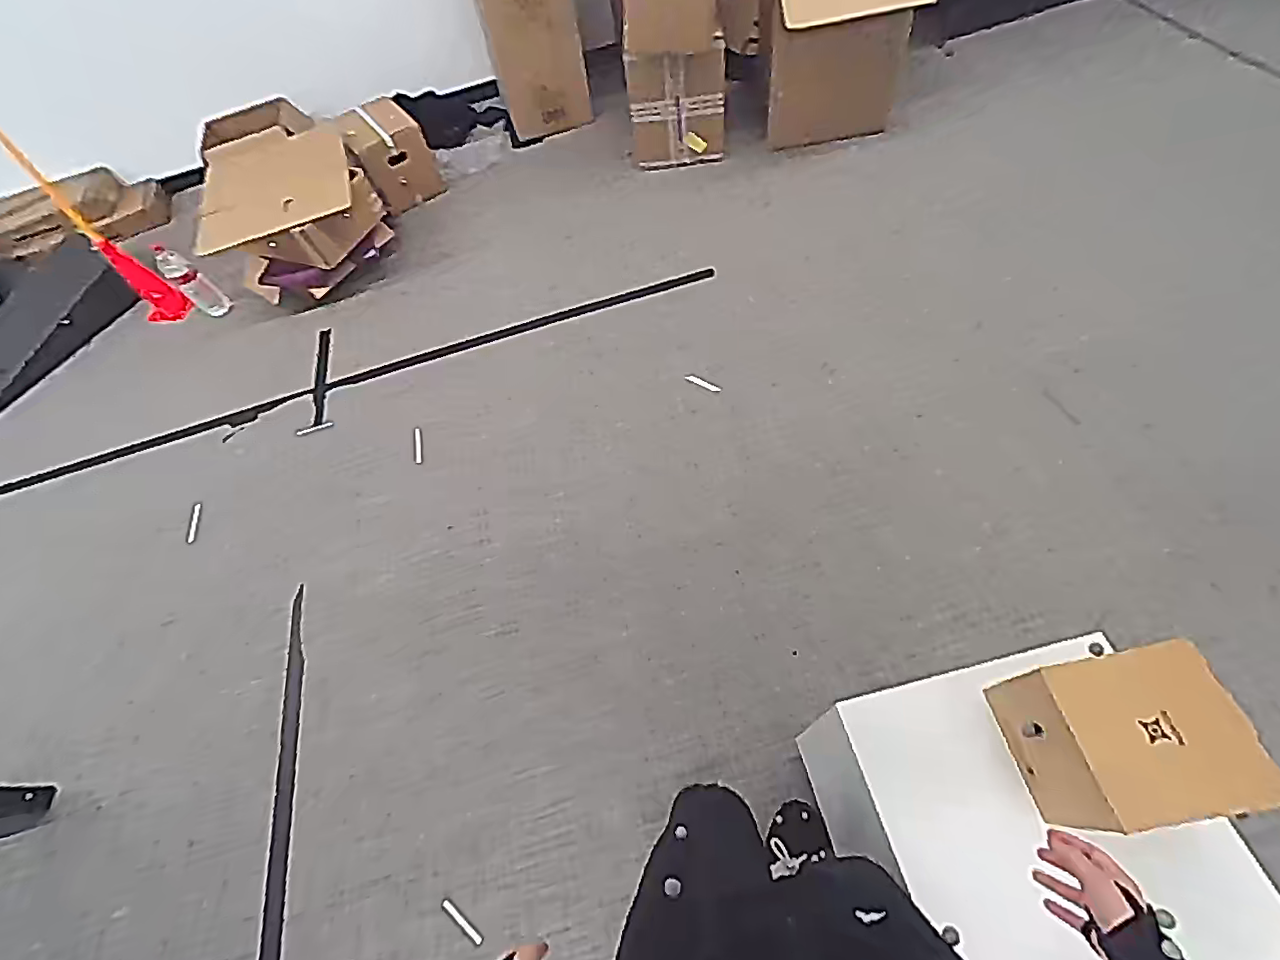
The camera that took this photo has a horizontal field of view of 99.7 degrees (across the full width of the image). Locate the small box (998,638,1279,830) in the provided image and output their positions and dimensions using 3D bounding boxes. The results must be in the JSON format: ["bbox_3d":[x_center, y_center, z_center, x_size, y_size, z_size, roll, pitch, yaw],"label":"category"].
[{"bbox_3d":[0.564,0.303,0.639,0.179,0.176,0.168,-12,59,2],"label":"small box"}]
